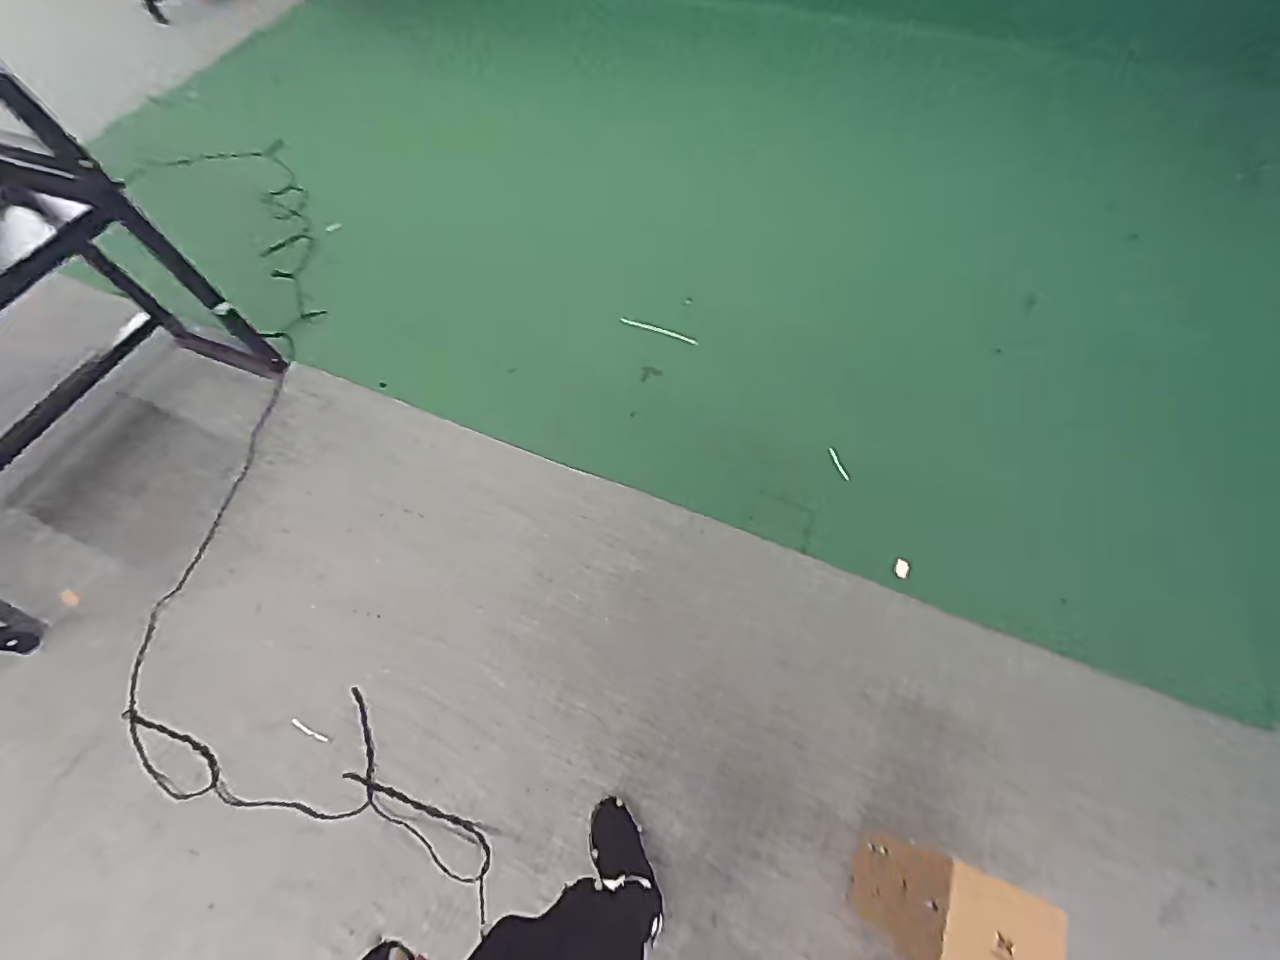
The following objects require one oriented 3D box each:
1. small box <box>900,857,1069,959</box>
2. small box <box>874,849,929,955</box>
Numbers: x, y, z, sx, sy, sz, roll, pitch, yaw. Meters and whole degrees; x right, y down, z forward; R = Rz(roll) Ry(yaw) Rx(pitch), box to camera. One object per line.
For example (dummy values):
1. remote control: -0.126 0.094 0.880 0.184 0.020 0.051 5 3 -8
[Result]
1. small box: 0.538 0.737 0.861 0.168 0.176 0.179 20 64 14
2. small box: 0.559 0.816 1.006 0.179 0.176 0.168 19 65 12
